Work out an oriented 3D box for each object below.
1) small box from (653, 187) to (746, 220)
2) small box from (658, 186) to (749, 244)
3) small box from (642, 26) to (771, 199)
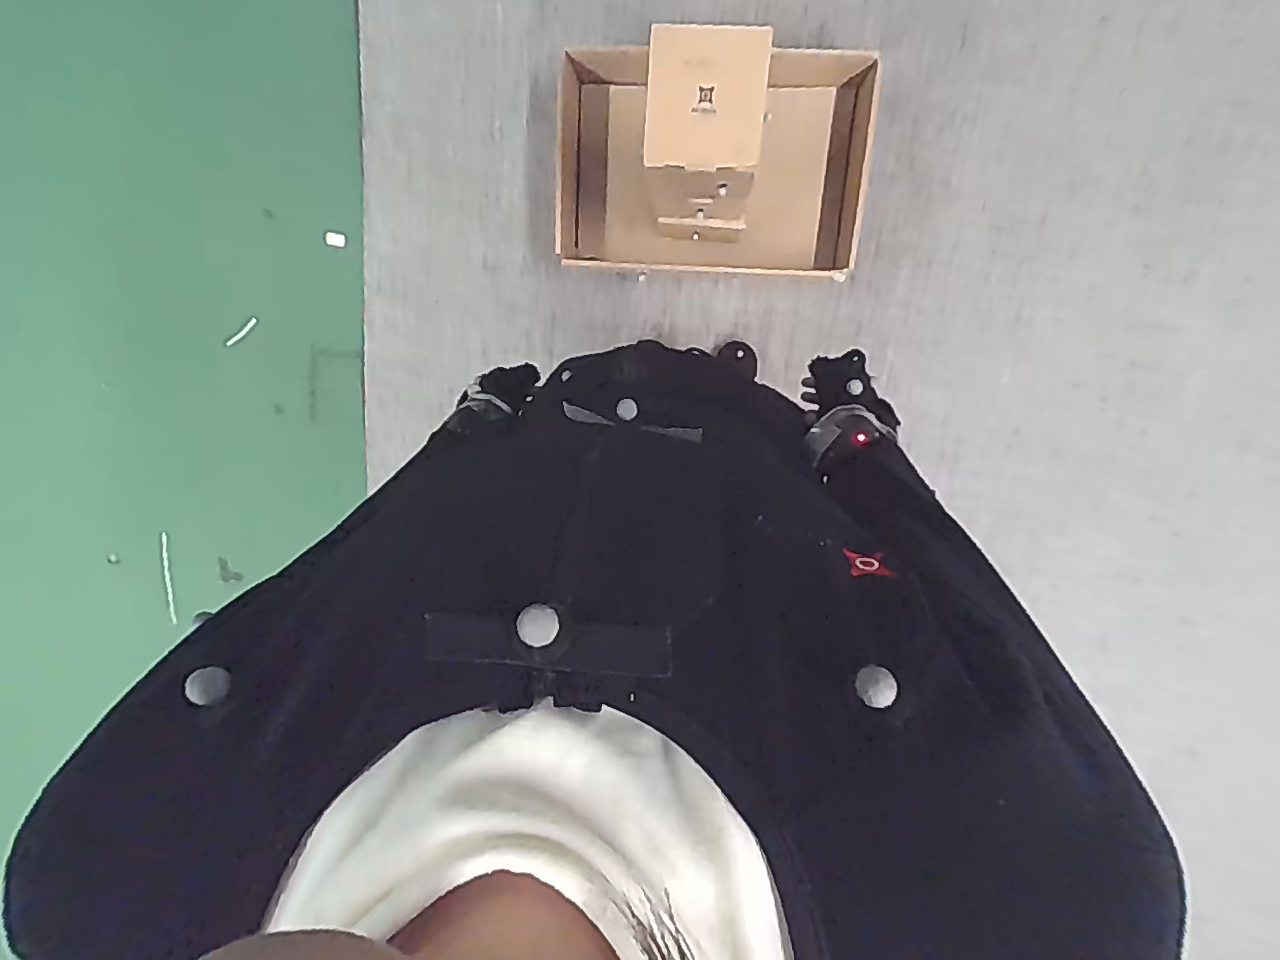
[{"bbox_3d":[0.117,-0.592,1.003,0.168,0.176,0.179,3,104,7],"label":"small box"},{"bbox_3d":[0.140,-0.614,1.160,0.179,0.176,0.168,8,104,5],"label":"small box"},{"bbox_3d":[0.097,-0.546,0.828,0.168,0.176,0.179,5,104,4],"label":"small box"}]
